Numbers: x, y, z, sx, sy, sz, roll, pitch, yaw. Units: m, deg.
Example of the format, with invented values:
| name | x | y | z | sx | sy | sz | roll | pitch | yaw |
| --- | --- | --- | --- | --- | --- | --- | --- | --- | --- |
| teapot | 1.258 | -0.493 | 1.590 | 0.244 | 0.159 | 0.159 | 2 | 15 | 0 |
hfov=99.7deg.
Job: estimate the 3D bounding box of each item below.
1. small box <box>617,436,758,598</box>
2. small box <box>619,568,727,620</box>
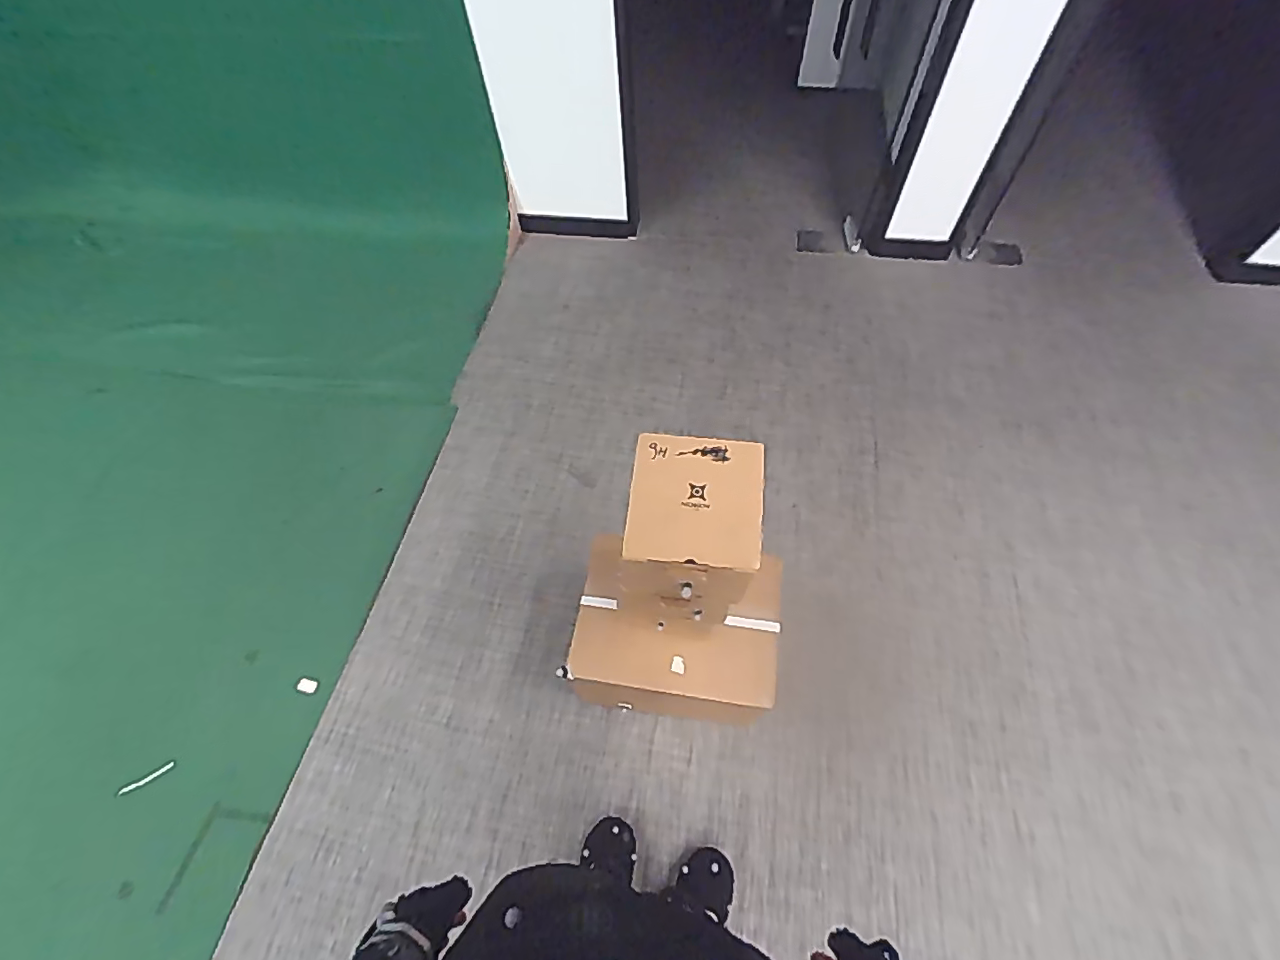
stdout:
| name | x | y | z | sx | sy | sz | roll | pitch | yaw |
| --- | --- | --- | --- | --- | --- | --- | --- | --- | --- |
| small box | 0.067 | 0.059 | 0.750 | 0.168 | 0.176 | 0.179 | 5 | 66 | 6 |
| small box | 0.063 | 0.127 | 0.899 | 0.168 | 0.176 | 0.179 | 5 | 64 | 5 |
